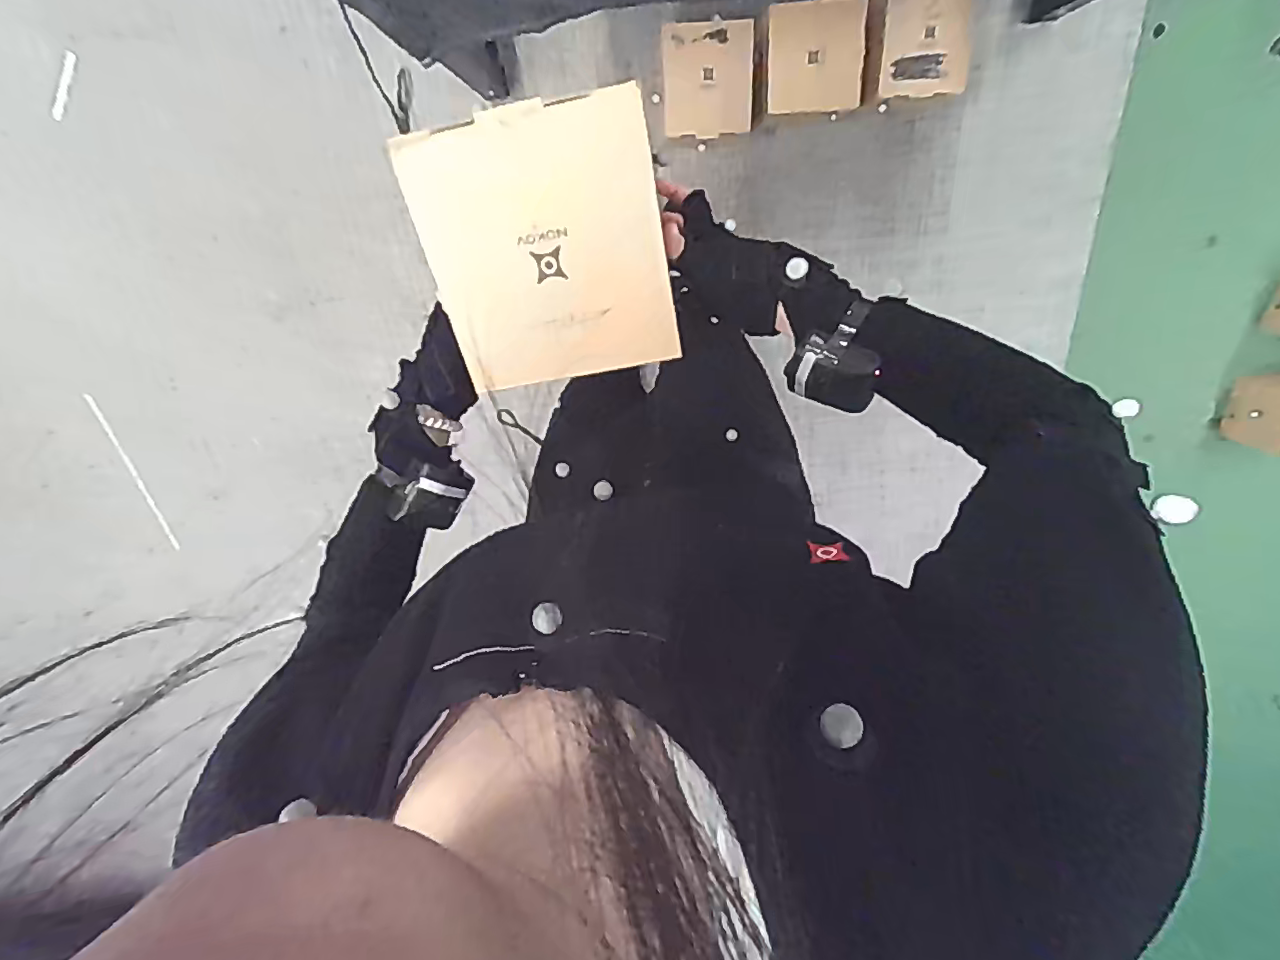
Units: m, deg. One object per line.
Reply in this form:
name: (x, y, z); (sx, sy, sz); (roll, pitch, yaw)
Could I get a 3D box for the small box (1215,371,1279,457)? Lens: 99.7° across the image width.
small box: (1.638, -0.173, 1.367); (0.179, 0.176, 0.168); (-8, 116, 2)

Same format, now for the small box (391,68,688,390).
small box: (-0.058, -0.193, 0.429); (0.168, 0.176, 0.179); (-9, 121, 6)

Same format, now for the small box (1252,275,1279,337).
small box: (1.627, -0.408, 1.259); (0.179, 0.176, 0.168); (4, 114, -2)
